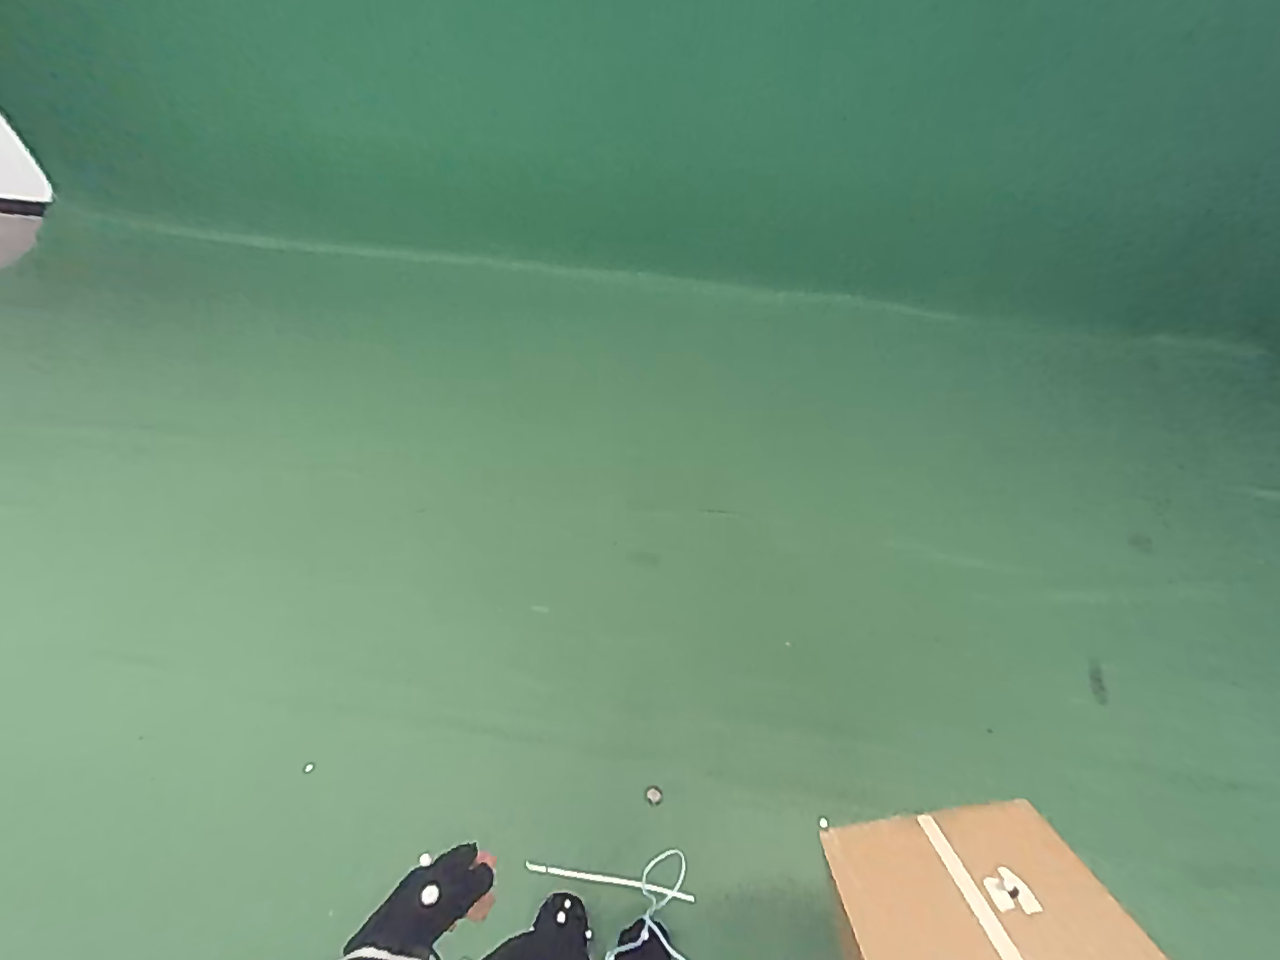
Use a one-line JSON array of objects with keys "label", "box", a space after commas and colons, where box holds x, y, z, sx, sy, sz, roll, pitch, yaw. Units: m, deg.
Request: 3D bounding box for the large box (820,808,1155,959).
[{"label": "large box", "box": [0.452, 0.700, 0.650, 0.320, 0.320, 0.408, -11, 10, 3]}]
